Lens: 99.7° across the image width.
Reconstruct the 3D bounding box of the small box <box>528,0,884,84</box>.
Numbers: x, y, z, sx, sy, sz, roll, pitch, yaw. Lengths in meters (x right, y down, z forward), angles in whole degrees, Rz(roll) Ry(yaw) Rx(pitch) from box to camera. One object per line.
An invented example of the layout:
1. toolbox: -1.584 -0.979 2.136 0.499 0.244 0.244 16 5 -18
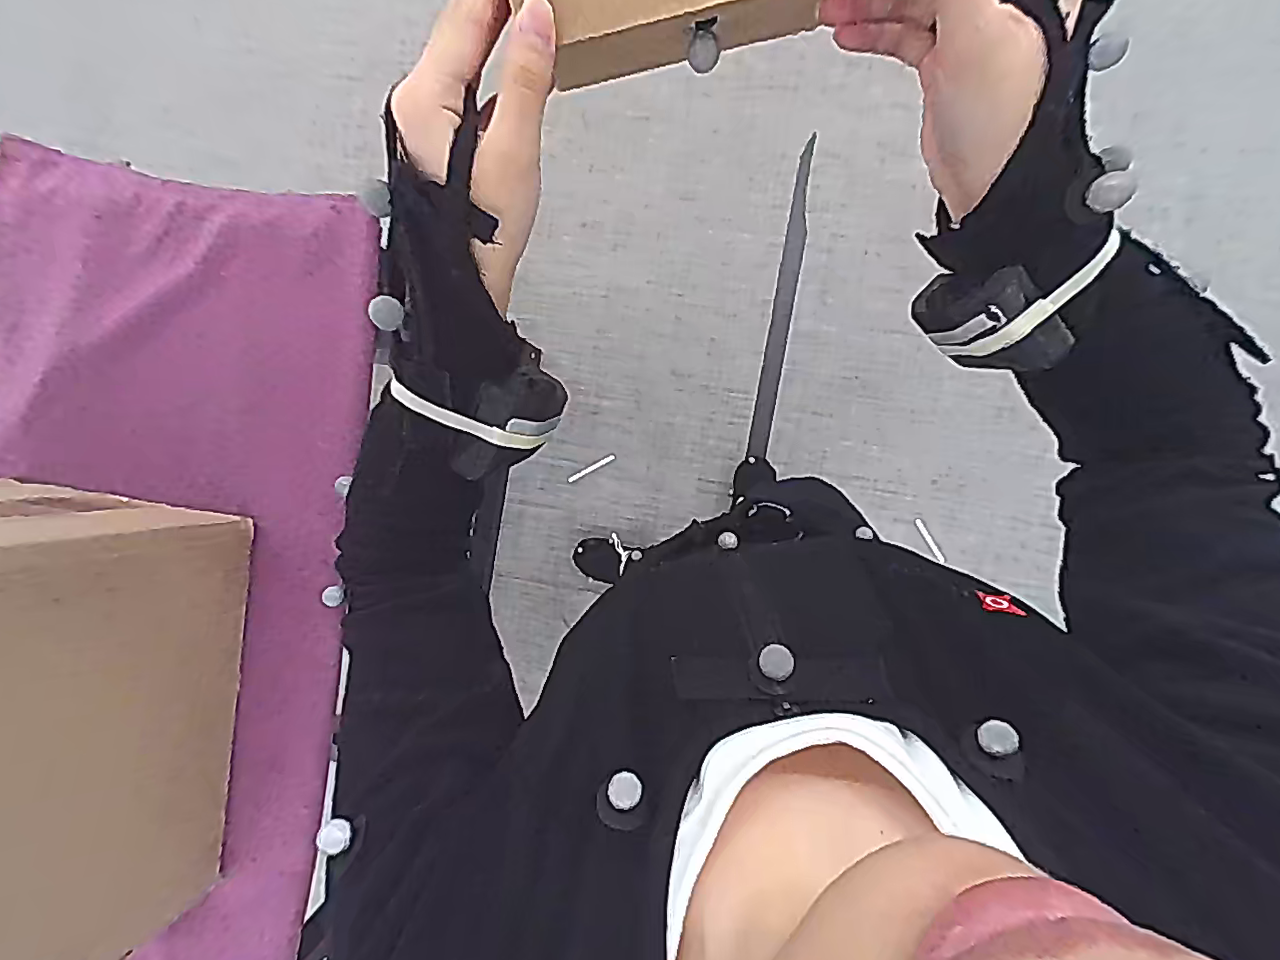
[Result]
1. small box: 0.026 -0.300 0.244 0.179 0.176 0.168 -10 122 4
